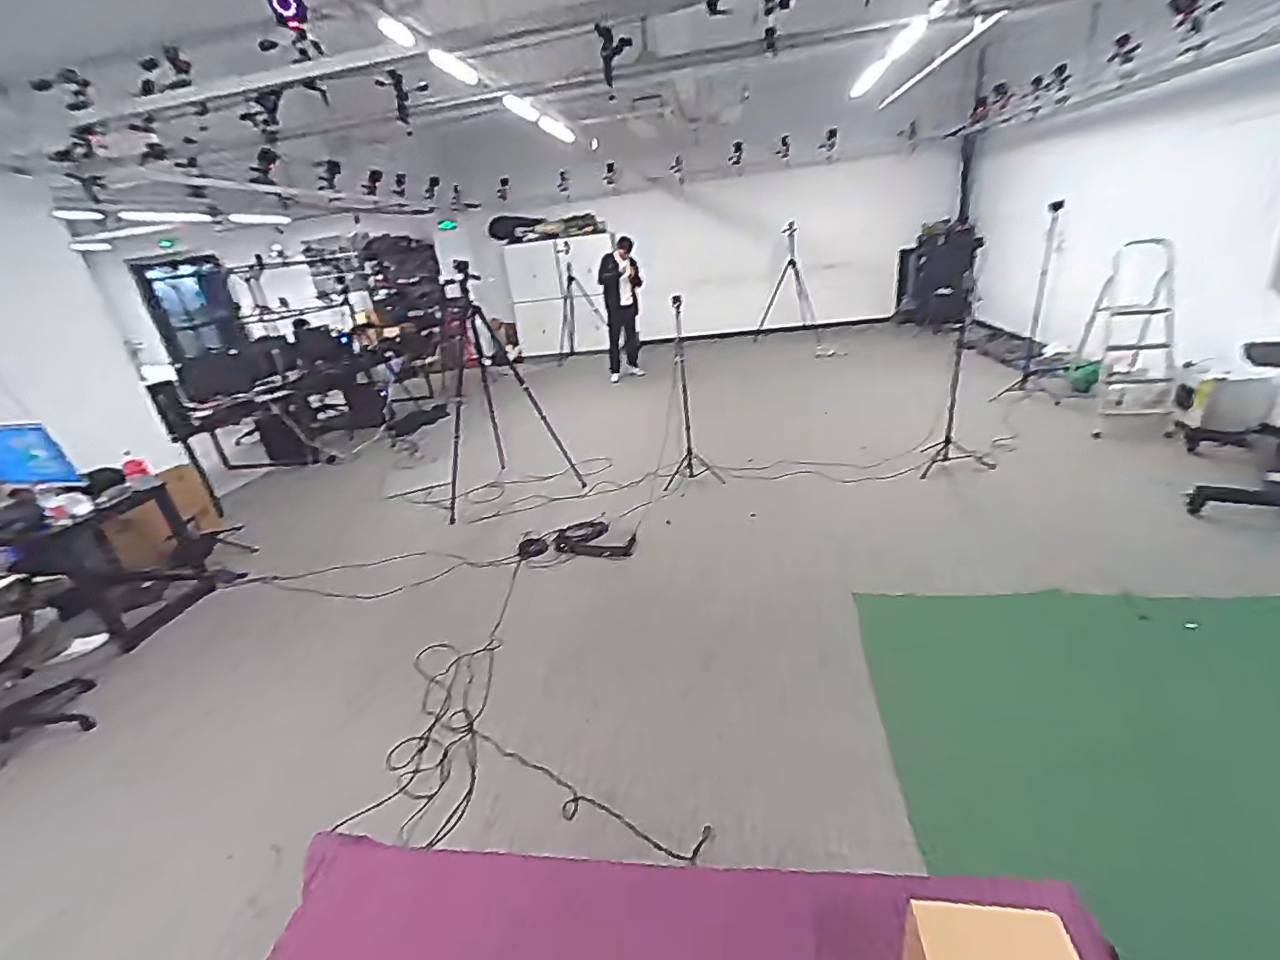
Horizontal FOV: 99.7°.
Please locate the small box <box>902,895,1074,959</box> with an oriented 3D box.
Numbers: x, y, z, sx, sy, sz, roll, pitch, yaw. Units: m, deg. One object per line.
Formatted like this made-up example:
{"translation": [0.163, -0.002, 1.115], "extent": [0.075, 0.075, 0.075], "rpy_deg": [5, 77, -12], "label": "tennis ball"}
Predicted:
{"translation": [0.414, 0.632, 0.626], "extent": [0.168, 0.176, 0.179], "rpy_deg": [-4, 25, 11], "label": "small box"}
